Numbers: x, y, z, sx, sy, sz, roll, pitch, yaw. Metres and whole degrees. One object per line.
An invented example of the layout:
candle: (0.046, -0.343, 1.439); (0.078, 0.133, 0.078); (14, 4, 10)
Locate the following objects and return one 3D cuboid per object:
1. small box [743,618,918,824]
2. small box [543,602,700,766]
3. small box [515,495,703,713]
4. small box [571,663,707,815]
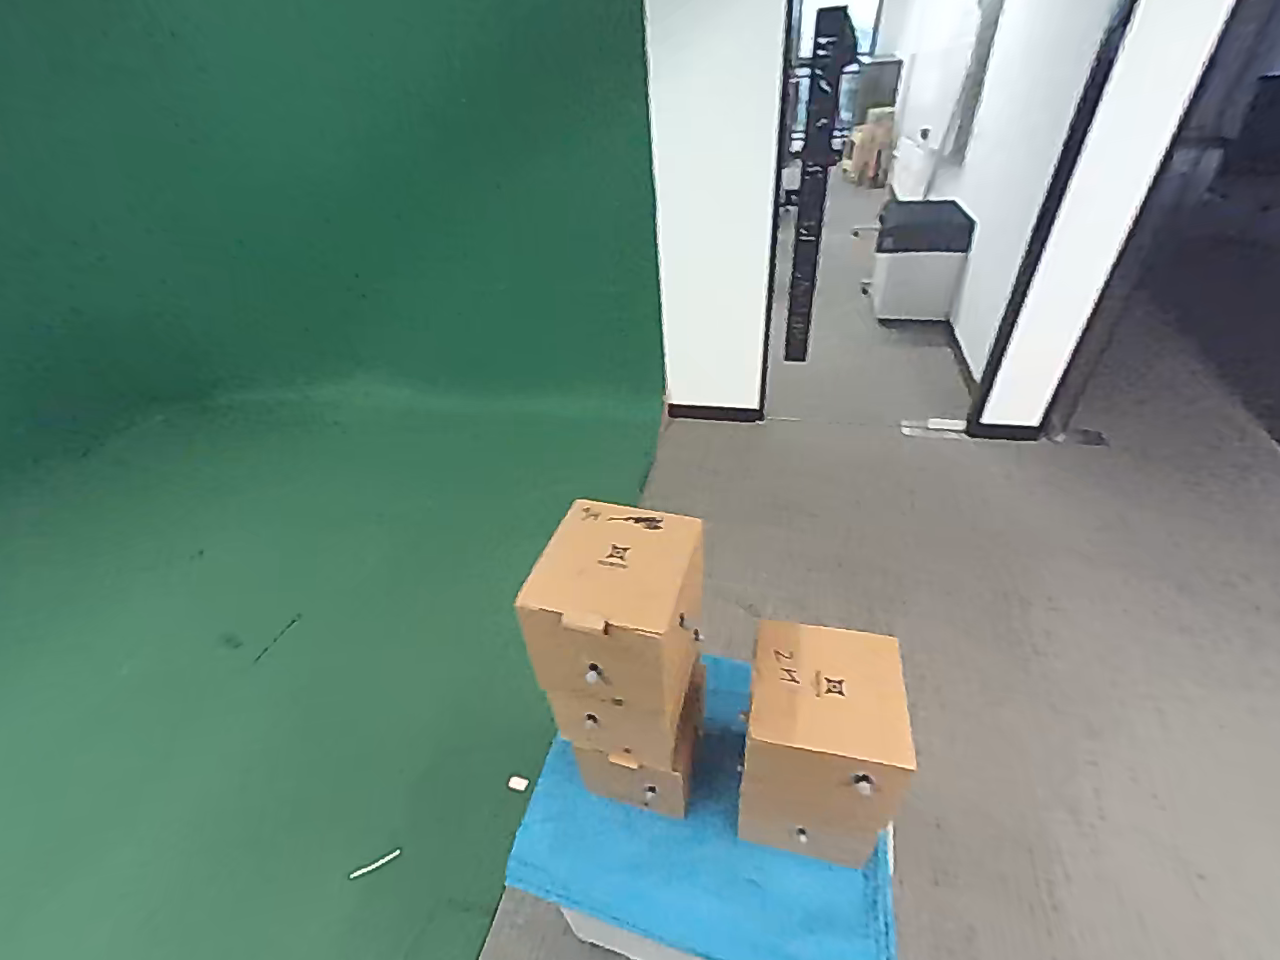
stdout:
small box: (0.228, 0.302, 0.680); (0.179, 0.176, 0.168); (5, 39, 15)
small box: (-0.013, 0.266, 0.762); (0.168, 0.176, 0.179); (9, 40, 17)
small box: (-0.023, 0.146, 0.650); (0.168, 0.176, 0.179); (10, 41, 16)
small box: (0.010, 0.394, 0.859); (0.168, 0.176, 0.179); (9, 40, 16)
